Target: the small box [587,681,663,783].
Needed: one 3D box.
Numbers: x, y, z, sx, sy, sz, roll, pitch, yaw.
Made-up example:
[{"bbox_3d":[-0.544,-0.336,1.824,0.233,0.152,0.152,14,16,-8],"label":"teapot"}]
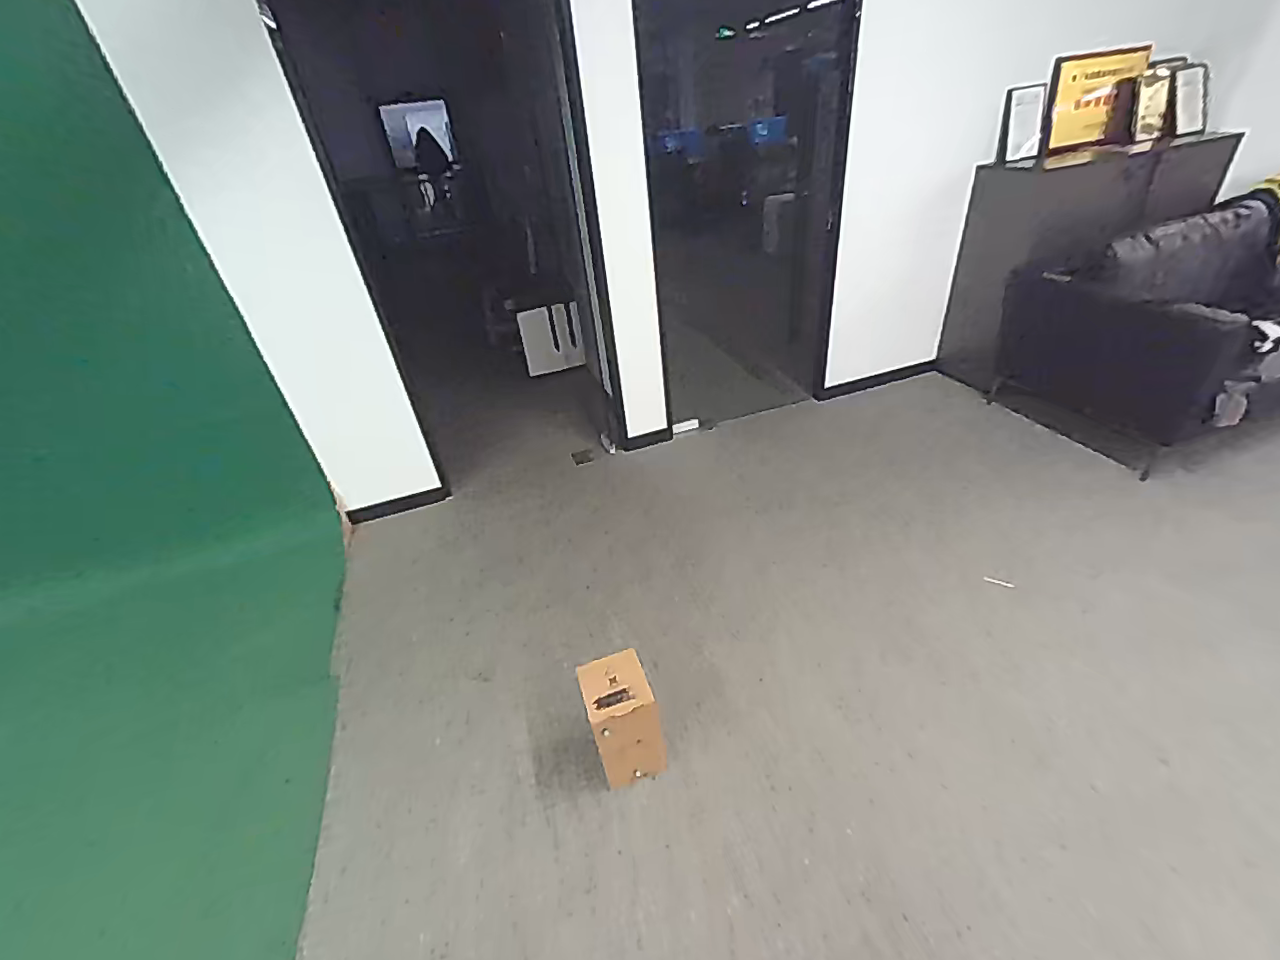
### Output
[{"bbox_3d":[-0.041,0.706,1.515,0.168,0.176,0.179,-15,37,-10],"label":"small box"}]
